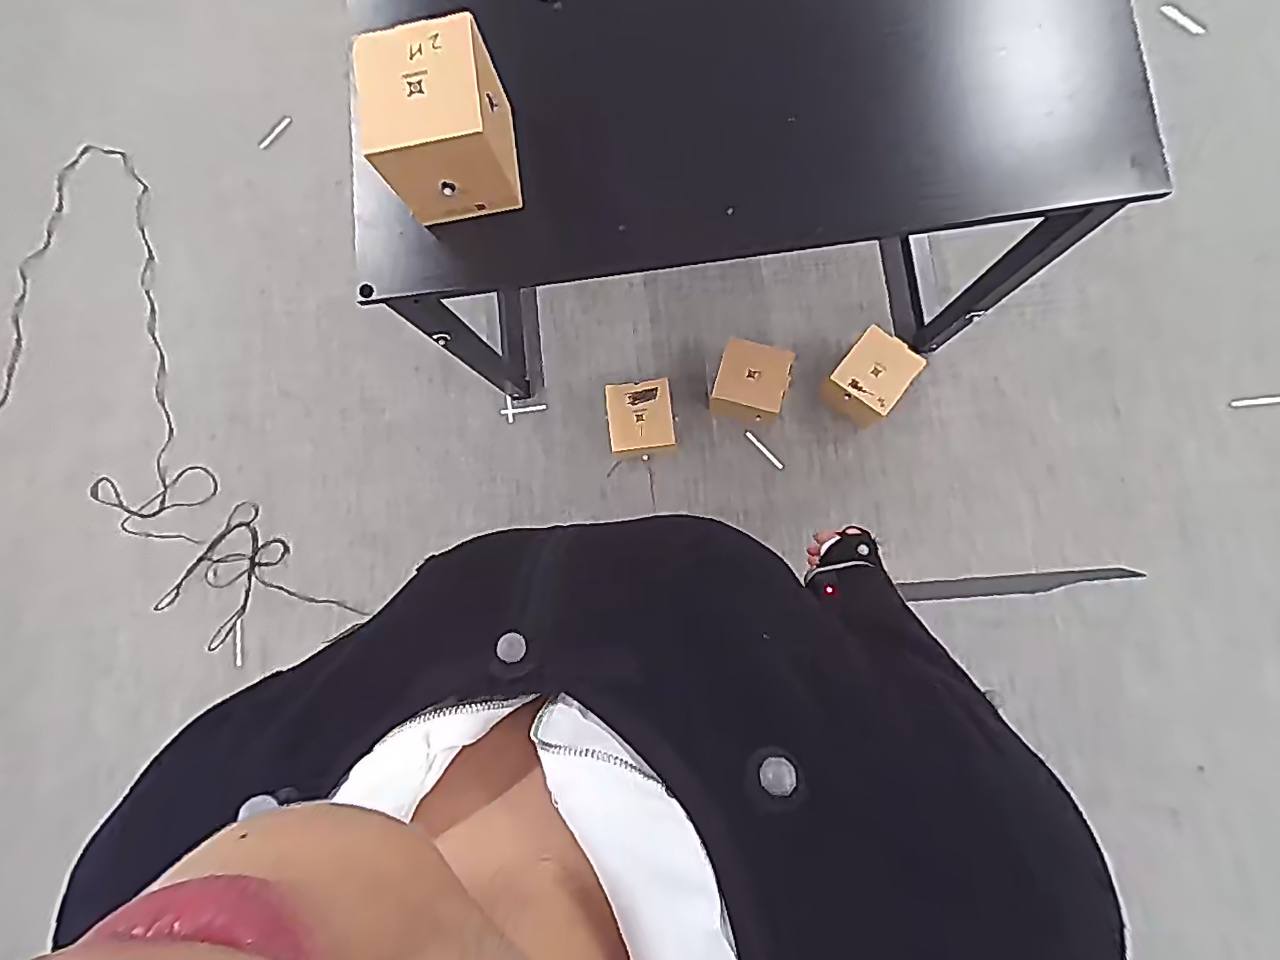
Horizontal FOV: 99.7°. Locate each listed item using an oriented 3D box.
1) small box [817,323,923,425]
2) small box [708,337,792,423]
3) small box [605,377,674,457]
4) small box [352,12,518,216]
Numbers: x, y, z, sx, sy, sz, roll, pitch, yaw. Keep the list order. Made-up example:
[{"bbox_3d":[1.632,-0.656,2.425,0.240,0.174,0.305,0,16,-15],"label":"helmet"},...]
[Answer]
[{"bbox_3d":[0.589,-0.269,1.416,0.168,0.176,0.179,38,89,8],"label":"small box"},{"bbox_3d":[0.288,-0.260,1.446,0.179,0.176,0.168,15,86,8],"label":"small box"},{"bbox_3d":[0.002,-0.164,1.462,0.168,0.176,0.179,-7,86,5],"label":"small box"},{"bbox_3d":[-0.286,-0.510,0.784,0.168,0.176,0.179,-8,84,4],"label":"small box"}]
